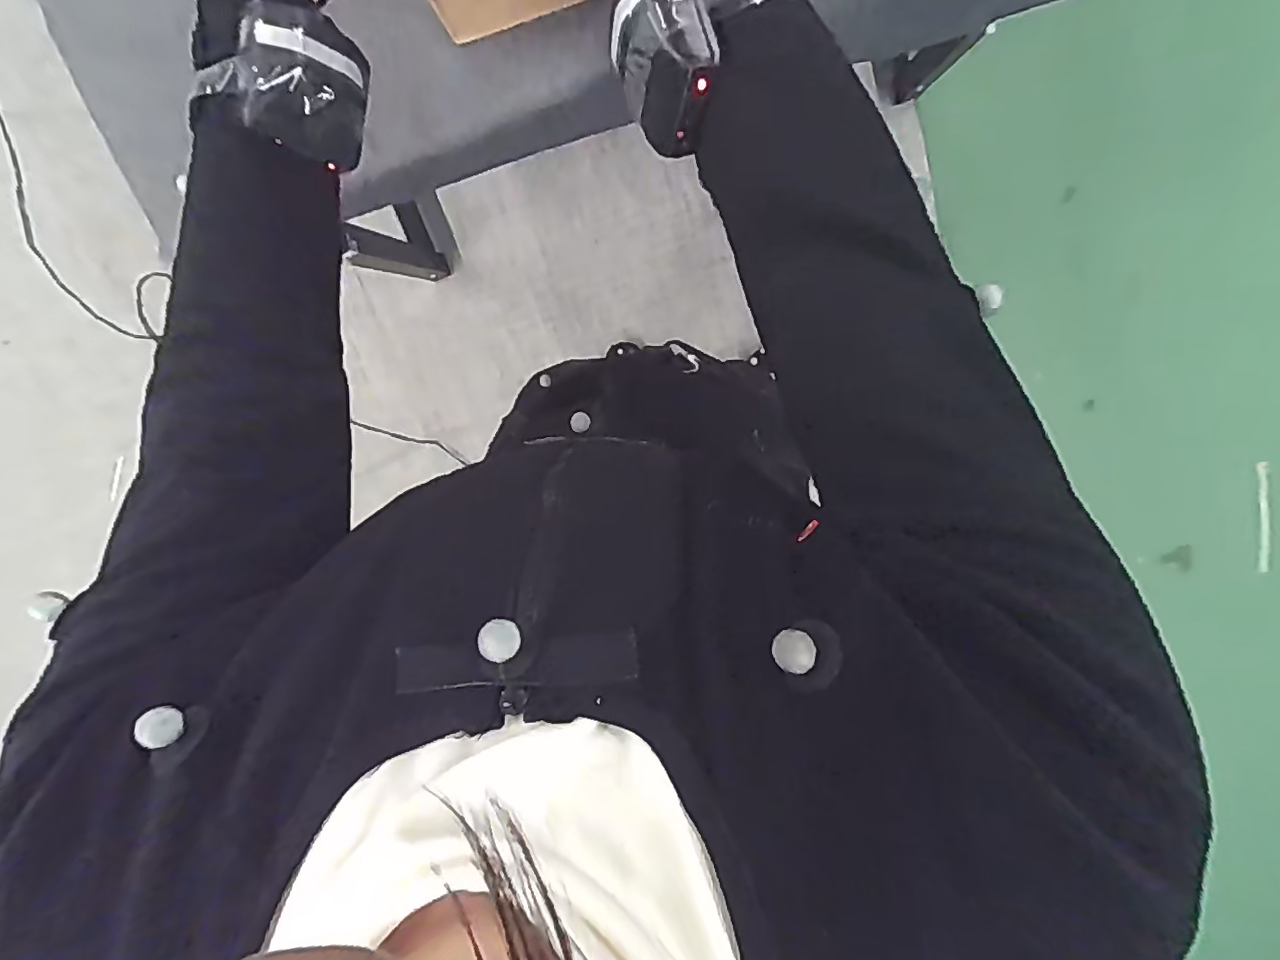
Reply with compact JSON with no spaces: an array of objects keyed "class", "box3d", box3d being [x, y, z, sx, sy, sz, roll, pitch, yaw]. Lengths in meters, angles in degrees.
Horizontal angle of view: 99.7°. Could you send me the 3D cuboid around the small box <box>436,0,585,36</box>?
[{"class":"small box","box3d":[-0.128,-0.529,0.456,0.179,0.176,0.168,-14,103,6]}]
